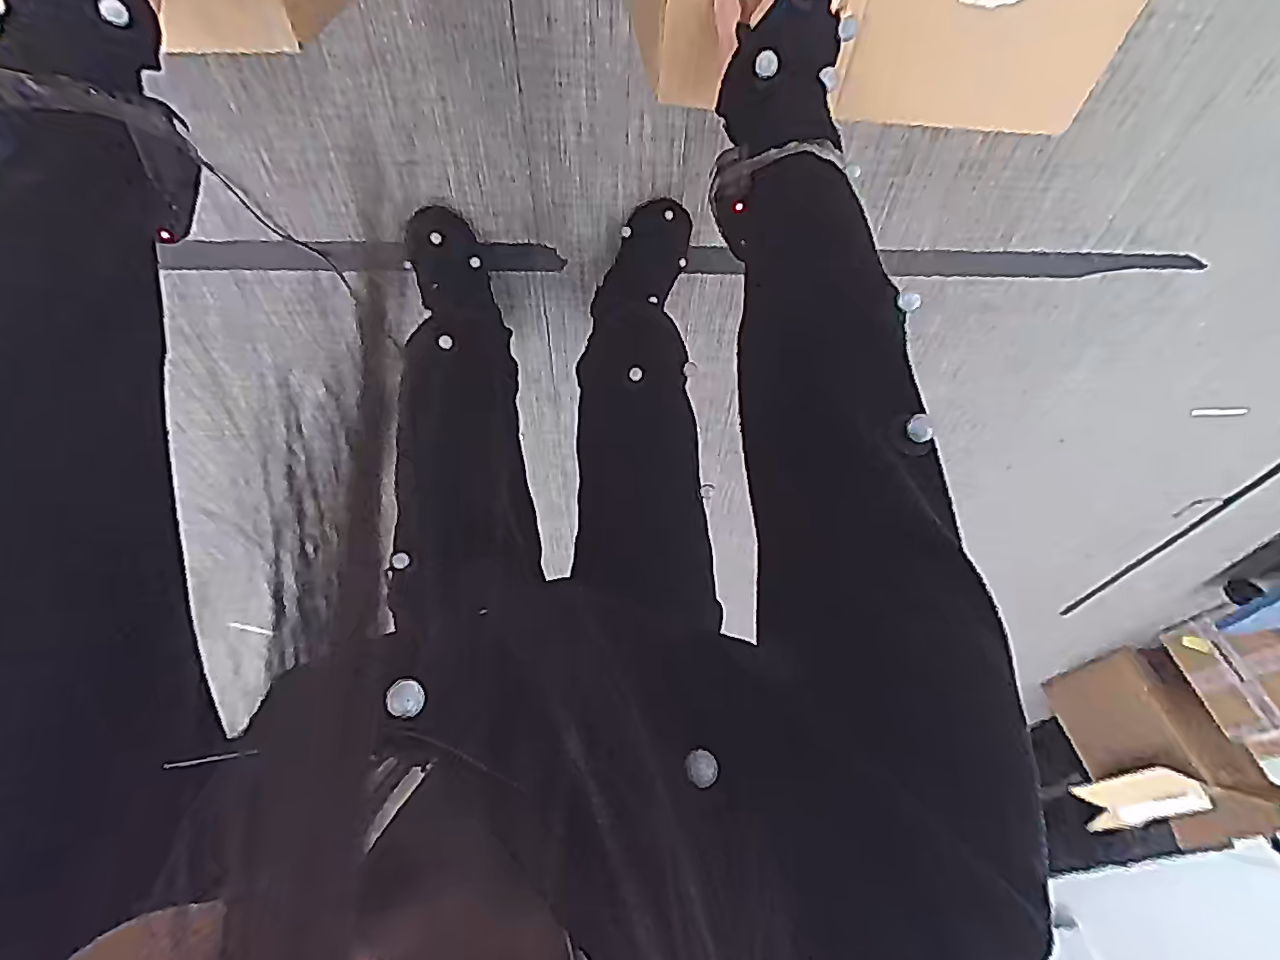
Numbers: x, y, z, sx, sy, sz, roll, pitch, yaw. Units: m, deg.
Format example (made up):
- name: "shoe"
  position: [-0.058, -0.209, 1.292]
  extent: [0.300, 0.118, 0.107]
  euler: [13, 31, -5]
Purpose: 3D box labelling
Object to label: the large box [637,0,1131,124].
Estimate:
- name: "large box"
  position: [0.216, -0.562, 0.493]
  extent: [0.408, 0.320, 0.320]
  euler: [-1, 142, -8]
